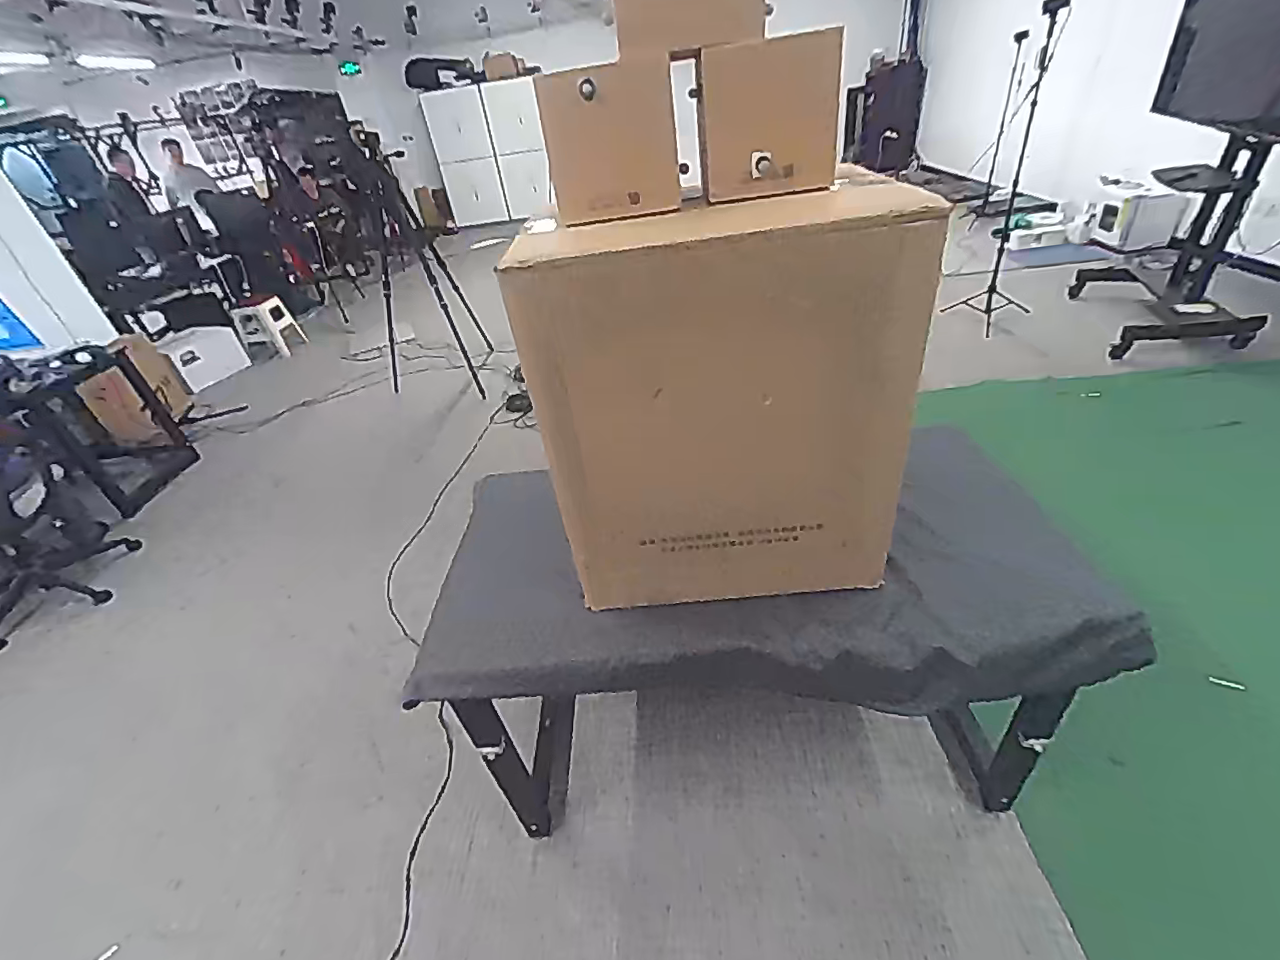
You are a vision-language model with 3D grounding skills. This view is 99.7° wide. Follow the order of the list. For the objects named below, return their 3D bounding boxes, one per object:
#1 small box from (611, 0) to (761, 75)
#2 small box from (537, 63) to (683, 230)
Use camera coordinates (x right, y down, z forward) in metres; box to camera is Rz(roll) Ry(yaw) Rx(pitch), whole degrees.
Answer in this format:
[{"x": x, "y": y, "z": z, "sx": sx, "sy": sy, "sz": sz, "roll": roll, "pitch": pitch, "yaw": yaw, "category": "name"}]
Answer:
[{"x": 0.053, "y": -0.612, "z": 0.672, "sx": 0.179, "sy": 0.176, "sz": 0.168, "roll": -6, "pitch": 33, "yaw": 4, "category": "small box"}, {"x": -0.031, "y": -0.460, "z": 0.759, "sx": 0.168, "sy": 0.176, "sz": 0.179, "roll": -6, "pitch": 33, "yaw": 6, "category": "small box"}]
